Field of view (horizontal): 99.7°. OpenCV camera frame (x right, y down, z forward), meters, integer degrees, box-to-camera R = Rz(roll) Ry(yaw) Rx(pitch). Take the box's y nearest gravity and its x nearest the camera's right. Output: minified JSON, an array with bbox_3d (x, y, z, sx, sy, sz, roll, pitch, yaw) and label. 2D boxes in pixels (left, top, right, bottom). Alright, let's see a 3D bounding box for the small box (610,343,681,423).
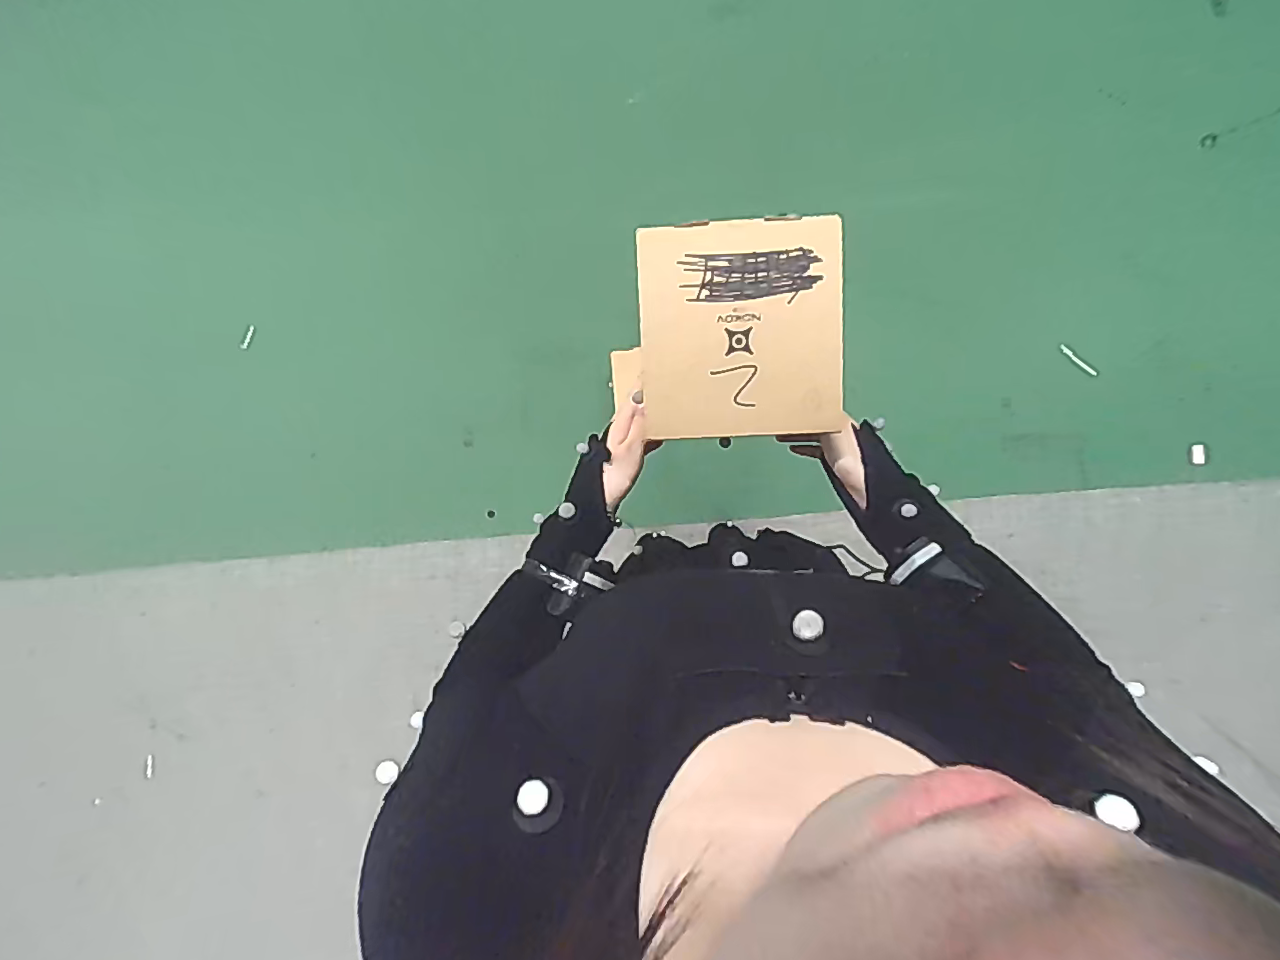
[{"bbox_3d":[0.019,-0.252,1.459,0.168,0.176,0.179,-6,86,7],"label":"small box"}]
